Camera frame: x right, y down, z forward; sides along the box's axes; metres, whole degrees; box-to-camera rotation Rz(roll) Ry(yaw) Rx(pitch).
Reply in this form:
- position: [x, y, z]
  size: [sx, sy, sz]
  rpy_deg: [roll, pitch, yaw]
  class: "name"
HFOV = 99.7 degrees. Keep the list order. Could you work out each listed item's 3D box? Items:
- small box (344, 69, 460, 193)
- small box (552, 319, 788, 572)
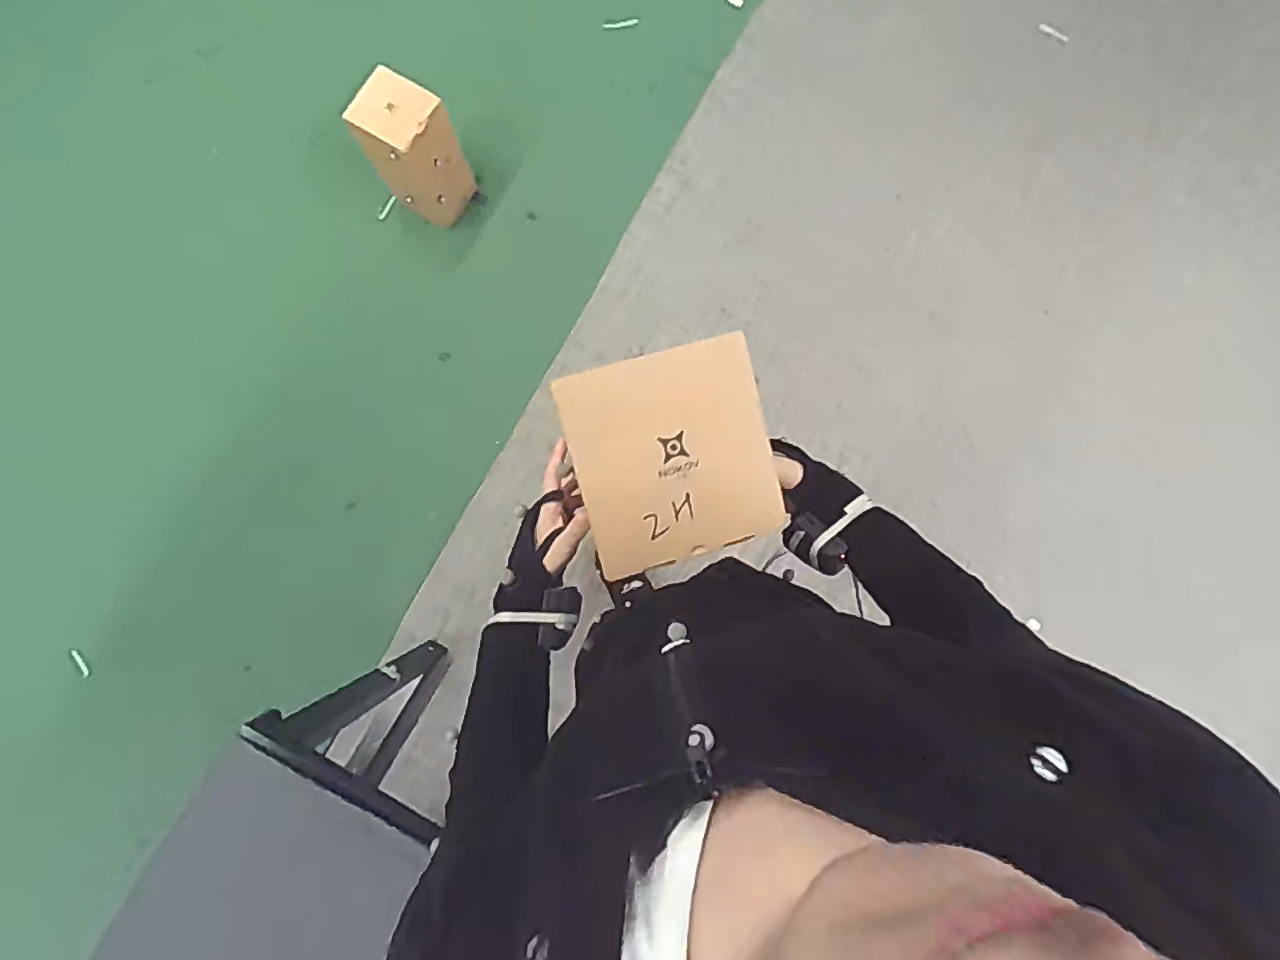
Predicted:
- position: [-0.587, -0.866, 1.360]
  size: [0.179, 0.176, 0.168]
  rpy_deg: [30, 83, 2]
  class: "small box"
- position: [0.017, -0.035, 0.516]
  size: [0.168, 0.176, 0.179]
  rpy_deg: [-15, 98, -5]
  class: "small box"
